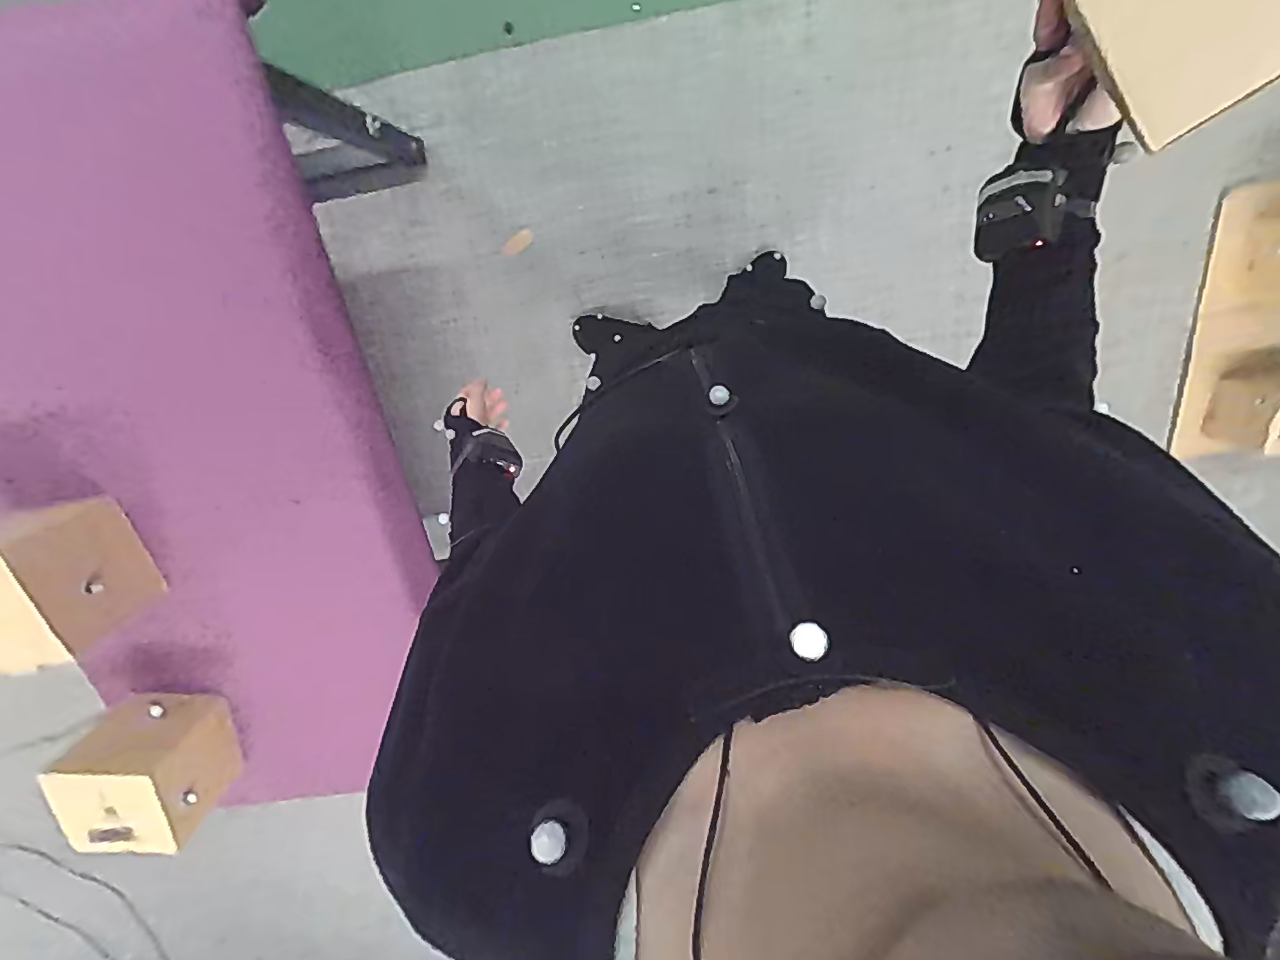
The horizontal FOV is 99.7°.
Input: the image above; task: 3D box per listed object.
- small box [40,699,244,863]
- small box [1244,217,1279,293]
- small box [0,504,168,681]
[{"bbox_3d":[-0.808,0.498,0.904,0.168,0.176,0.179,2,111,-2],"label":"small box"},{"bbox_3d":[1.568,-0.528,1.240,0.179,0.176,0.168,-12,112,4],"label":"small box"},{"bbox_3d":[-0.840,0.156,0.766,0.168,0.176,0.179,-10,113,2],"label":"small box"}]
